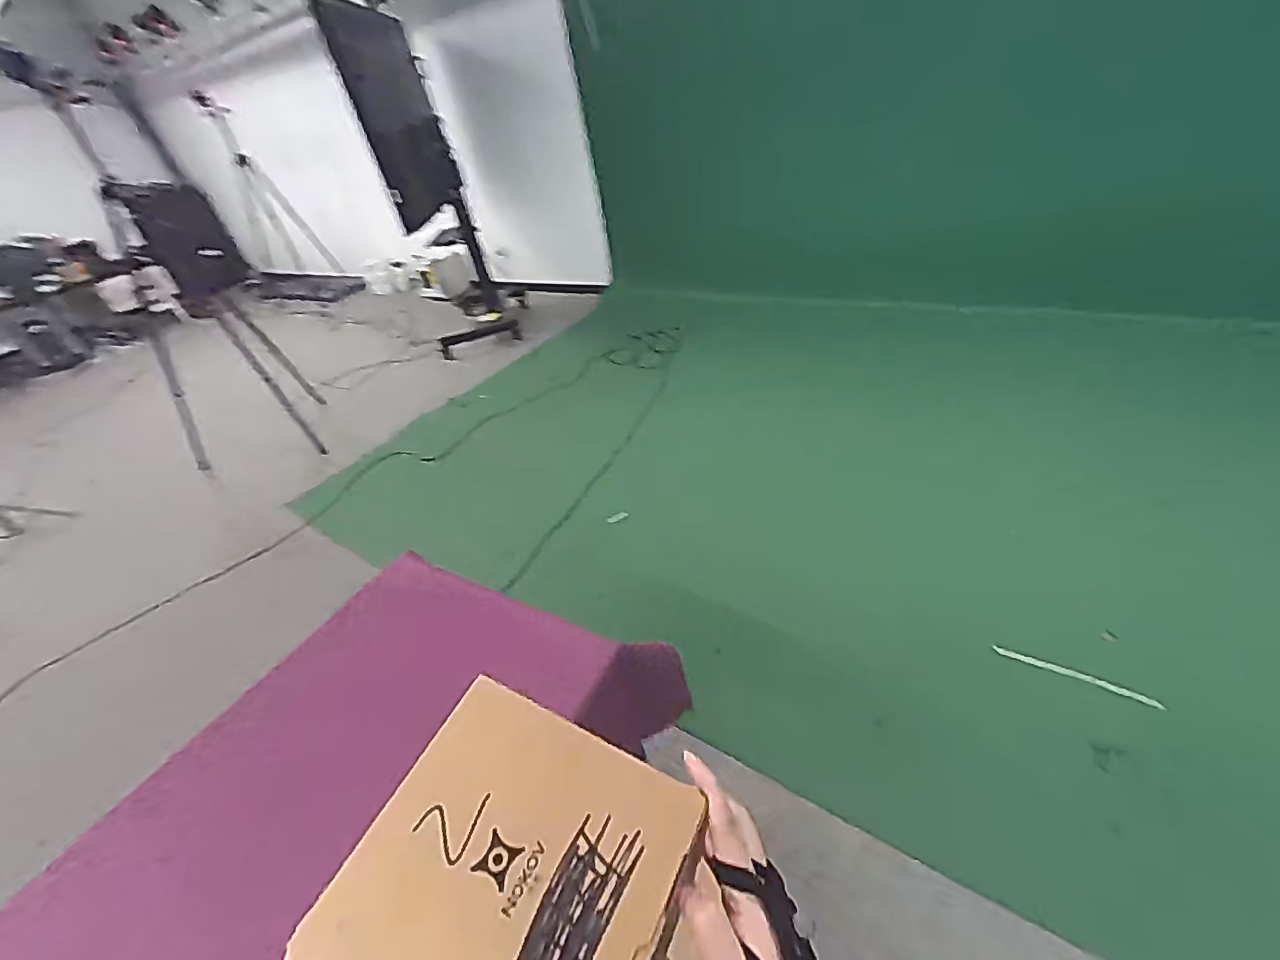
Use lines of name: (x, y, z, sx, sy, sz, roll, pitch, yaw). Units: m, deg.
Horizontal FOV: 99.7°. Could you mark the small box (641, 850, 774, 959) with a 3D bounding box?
small box: (0.128, 0.833, 0.985, 0.179, 0.176, 0.168, 20, 47, 34)
